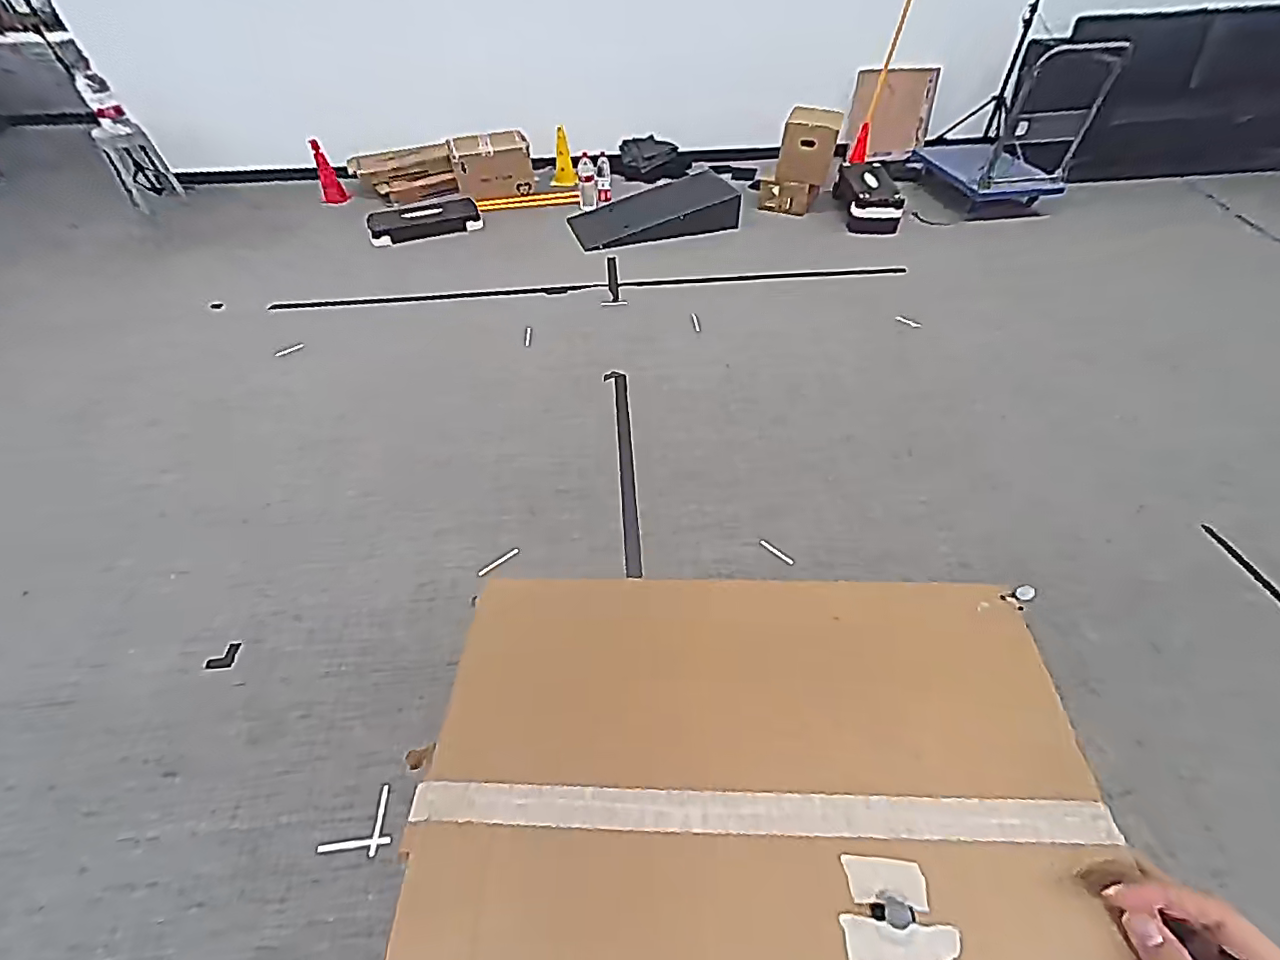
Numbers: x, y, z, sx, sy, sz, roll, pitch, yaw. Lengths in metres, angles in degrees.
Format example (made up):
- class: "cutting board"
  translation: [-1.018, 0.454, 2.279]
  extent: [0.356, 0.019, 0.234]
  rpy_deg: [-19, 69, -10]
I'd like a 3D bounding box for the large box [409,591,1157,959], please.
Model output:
- class: "large box"
  translation: [0.077, 0.302, 0.443]
  extent: [0.408, 0.320, 0.320]
  rpy_deg: [0, 51, 3]
